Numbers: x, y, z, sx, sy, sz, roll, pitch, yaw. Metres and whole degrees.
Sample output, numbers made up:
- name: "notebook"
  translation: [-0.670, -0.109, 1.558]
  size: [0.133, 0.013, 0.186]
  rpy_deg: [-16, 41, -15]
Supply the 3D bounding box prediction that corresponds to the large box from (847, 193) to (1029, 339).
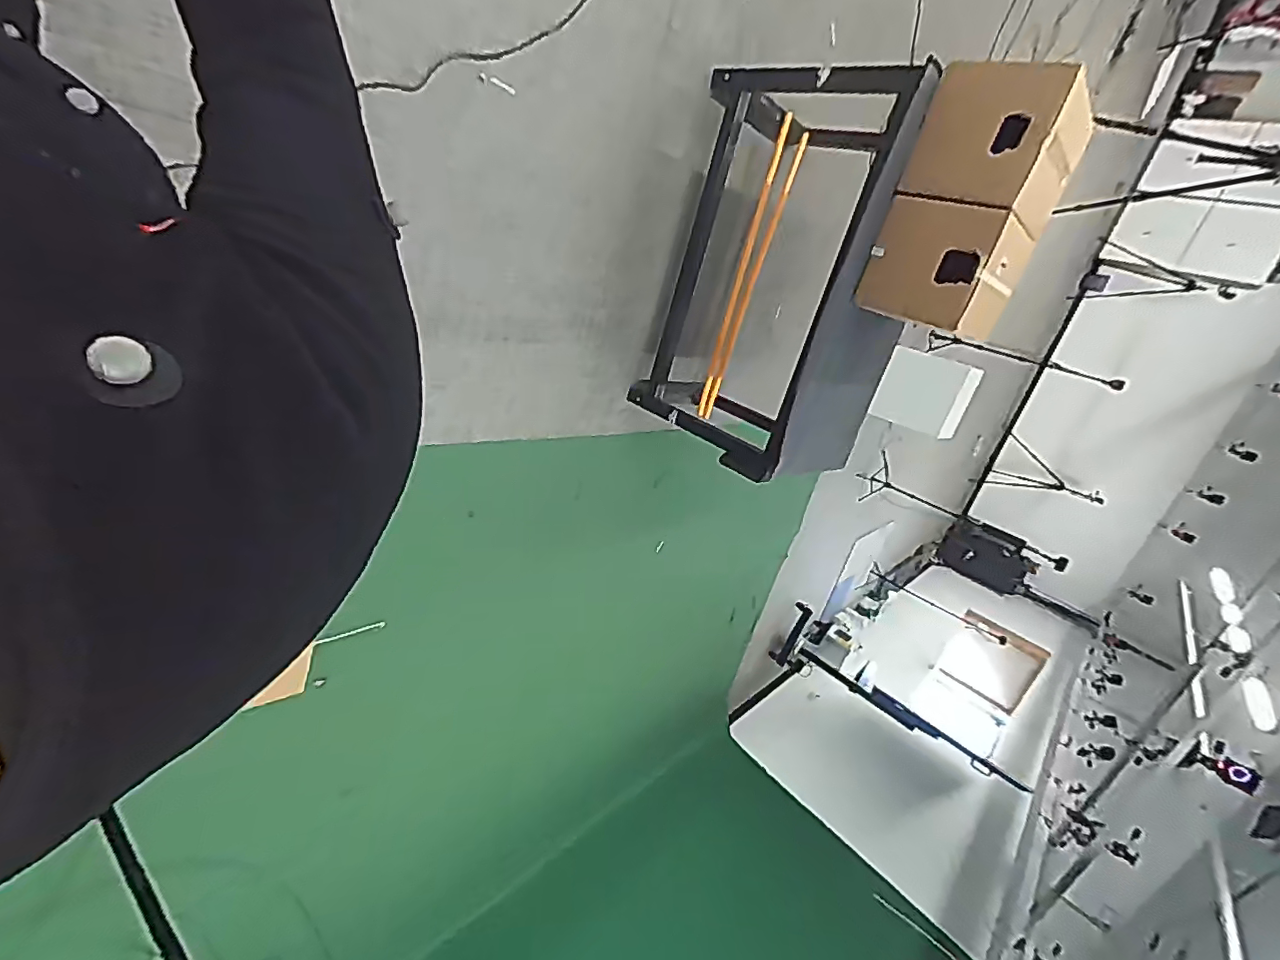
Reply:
- name: "large box"
  translation: [0.900, -0.636, 1.636]
  size: [0.408, 0.320, 0.320]
  rpy_deg: [-9, 122, -46]
